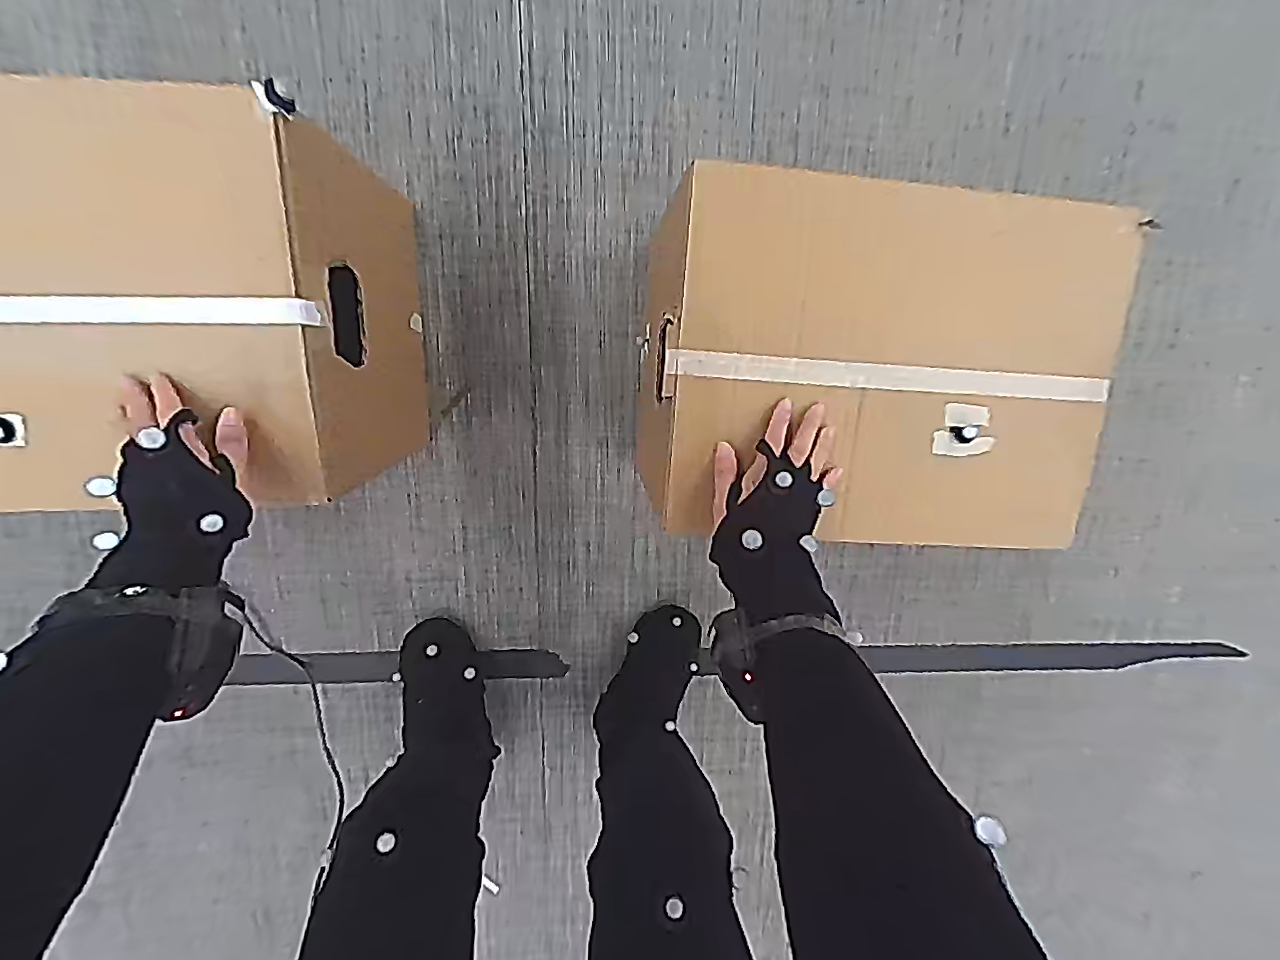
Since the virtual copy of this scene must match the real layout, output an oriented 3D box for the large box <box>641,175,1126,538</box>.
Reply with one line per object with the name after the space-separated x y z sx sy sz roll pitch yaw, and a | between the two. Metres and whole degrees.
0.219 -0.126 0.640 0.408 0.320 0.320 3 103 -7 | large box
